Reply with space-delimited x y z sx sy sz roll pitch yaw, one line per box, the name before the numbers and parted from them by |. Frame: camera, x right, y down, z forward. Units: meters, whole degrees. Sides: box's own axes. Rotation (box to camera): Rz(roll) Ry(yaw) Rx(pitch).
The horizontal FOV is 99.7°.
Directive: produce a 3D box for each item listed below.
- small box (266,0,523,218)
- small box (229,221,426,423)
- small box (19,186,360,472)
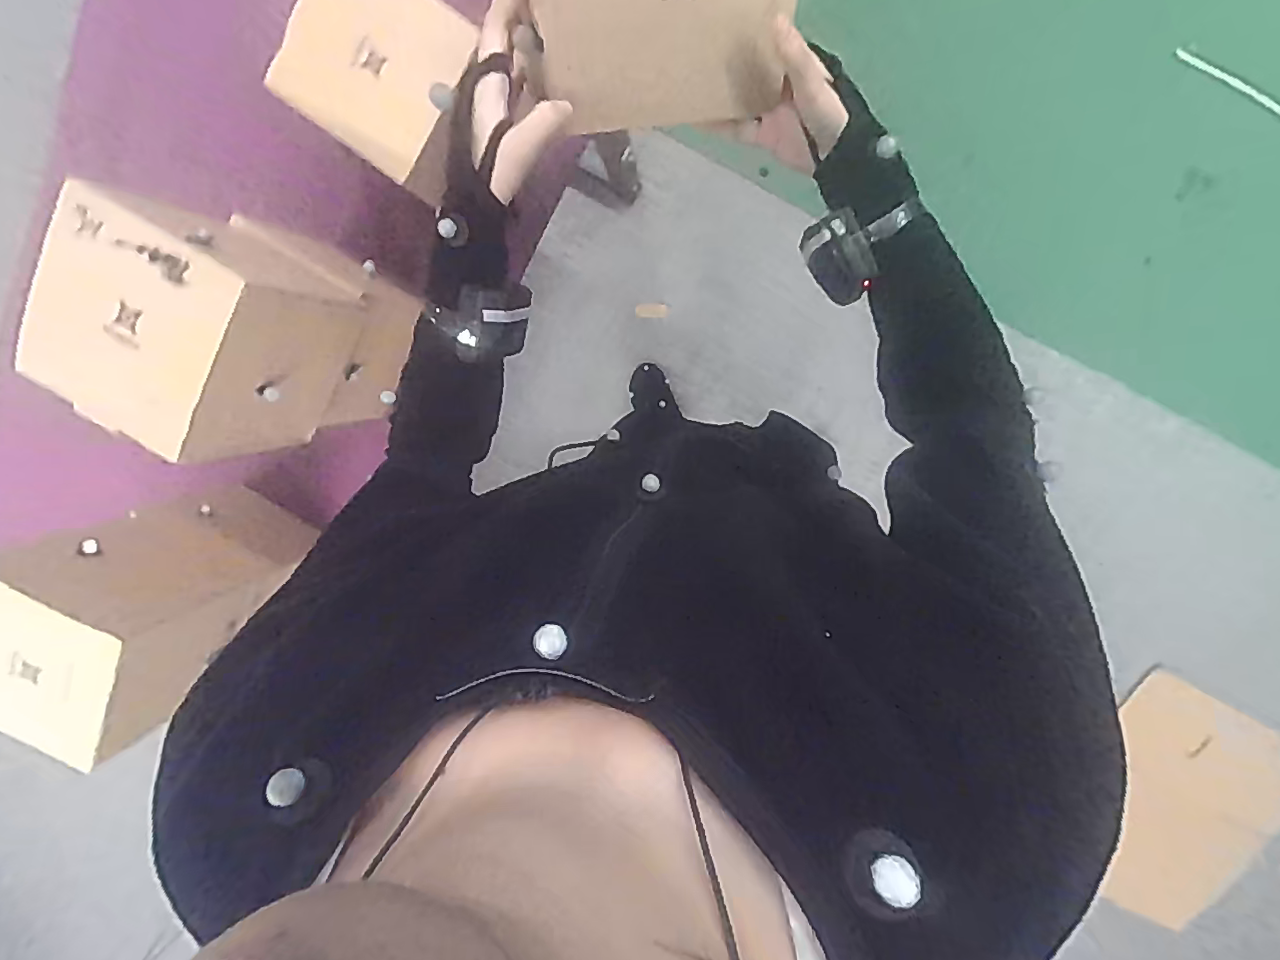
small box | -0.261 -0.428 0.617 0.179 0.176 0.168 35 103 -3
small box | -0.402 -0.181 0.678 0.168 0.176 0.179 31 102 -1
small box | -0.409 -0.134 0.520 0.168 0.176 0.179 30 103 -1
